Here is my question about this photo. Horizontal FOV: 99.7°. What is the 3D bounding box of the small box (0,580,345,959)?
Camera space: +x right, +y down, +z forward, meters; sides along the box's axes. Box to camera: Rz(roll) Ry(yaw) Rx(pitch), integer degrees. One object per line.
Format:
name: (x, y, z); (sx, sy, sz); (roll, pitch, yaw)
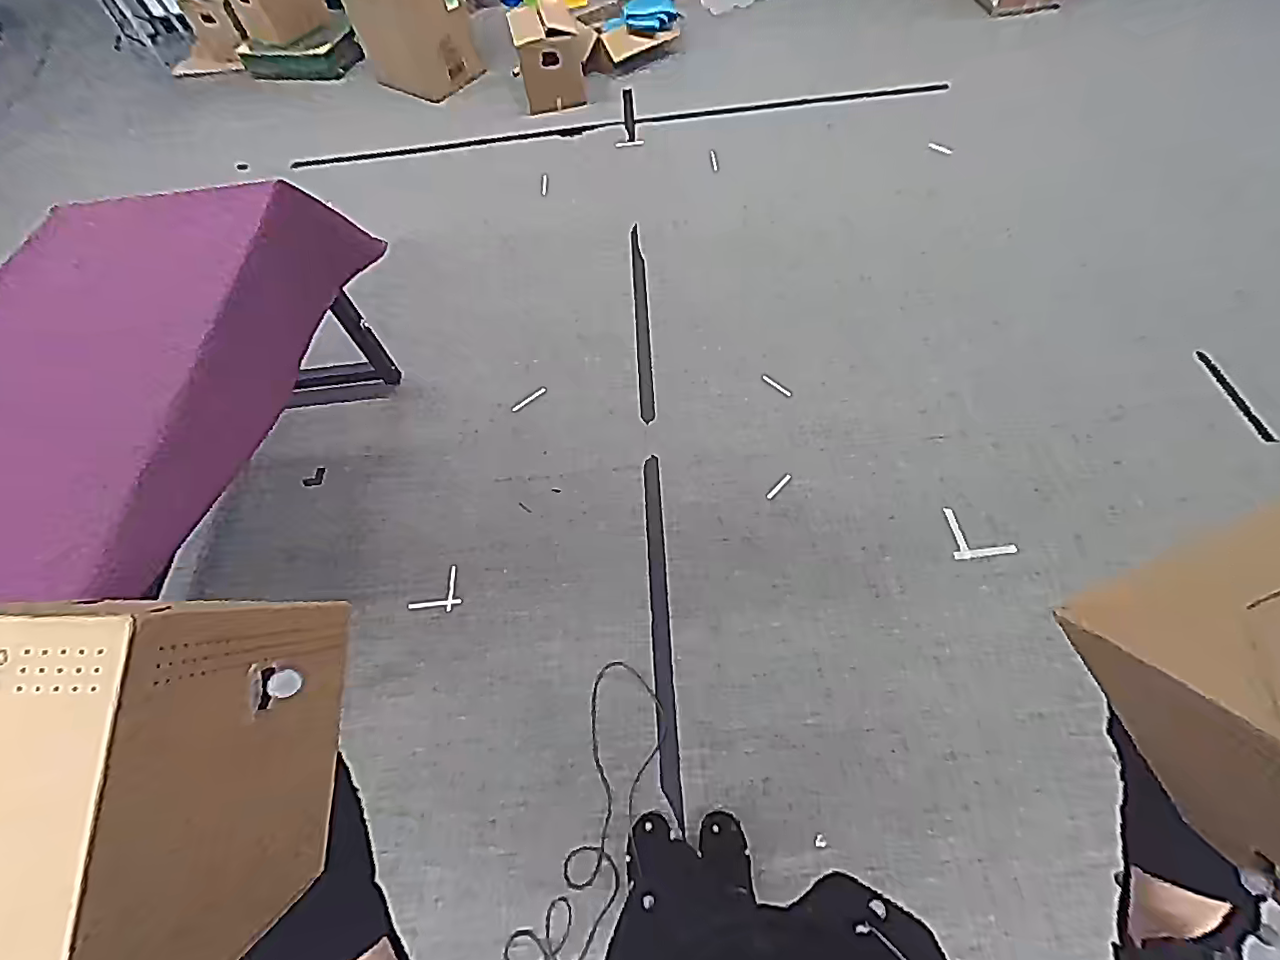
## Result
small box: (-0.269, 0.136, 0.258); (0.168, 0.179, 0.176); (1, 79, -2)

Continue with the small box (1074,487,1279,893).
small box: (0.359, 0.109, 0.247); (0.168, 0.179, 0.176); (-31, 87, 13)
